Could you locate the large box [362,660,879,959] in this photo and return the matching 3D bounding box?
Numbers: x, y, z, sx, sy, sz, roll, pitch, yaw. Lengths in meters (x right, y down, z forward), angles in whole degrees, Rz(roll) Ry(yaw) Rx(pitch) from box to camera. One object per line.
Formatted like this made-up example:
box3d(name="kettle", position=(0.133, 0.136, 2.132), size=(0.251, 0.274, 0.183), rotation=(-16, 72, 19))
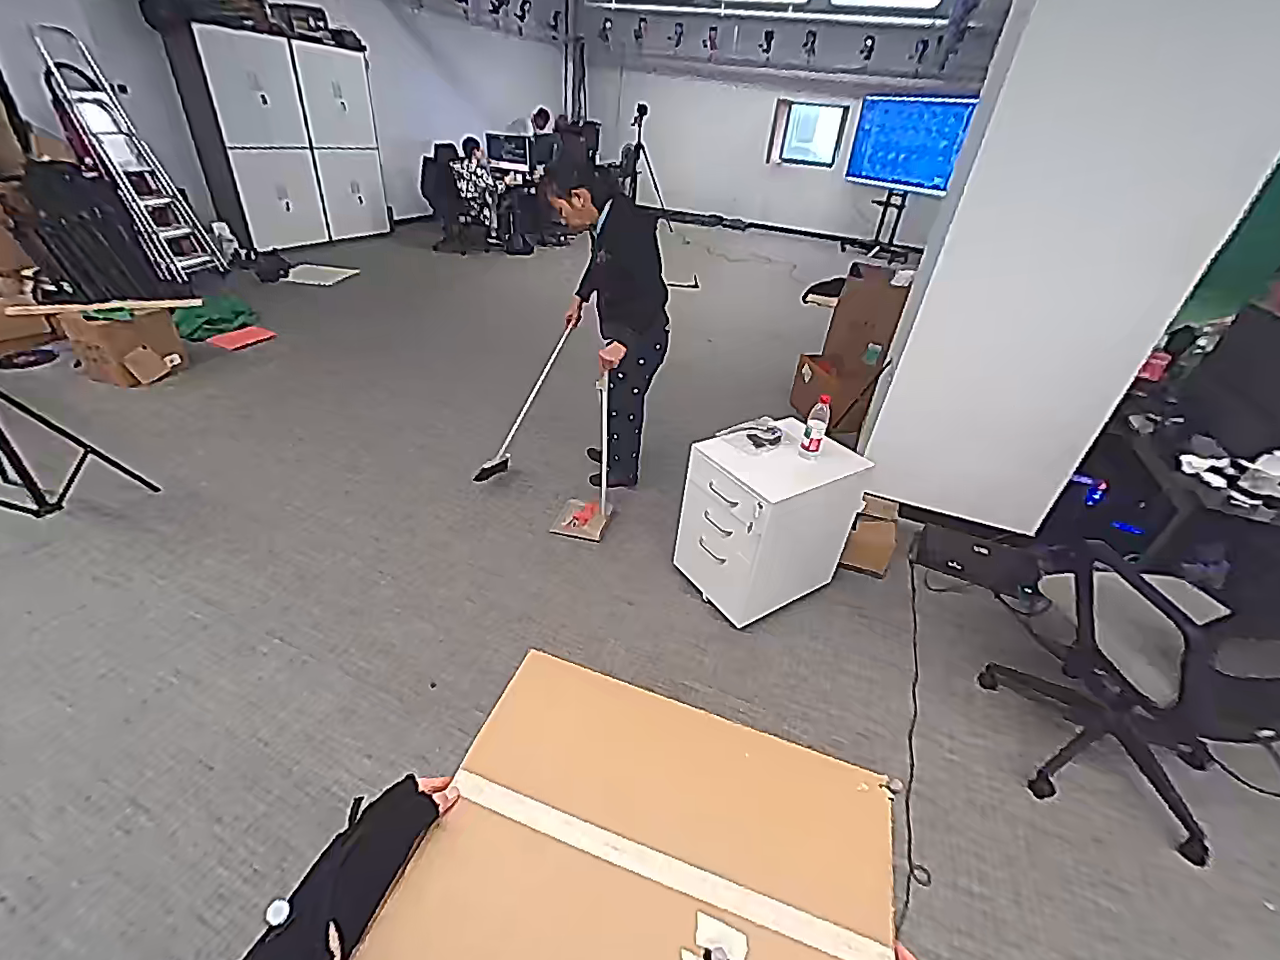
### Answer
box3d(name="large box", position=(-0.003, 0.464, 0.580), size=(0.408, 0.320, 0.320), rotation=(16, 40, 12))
